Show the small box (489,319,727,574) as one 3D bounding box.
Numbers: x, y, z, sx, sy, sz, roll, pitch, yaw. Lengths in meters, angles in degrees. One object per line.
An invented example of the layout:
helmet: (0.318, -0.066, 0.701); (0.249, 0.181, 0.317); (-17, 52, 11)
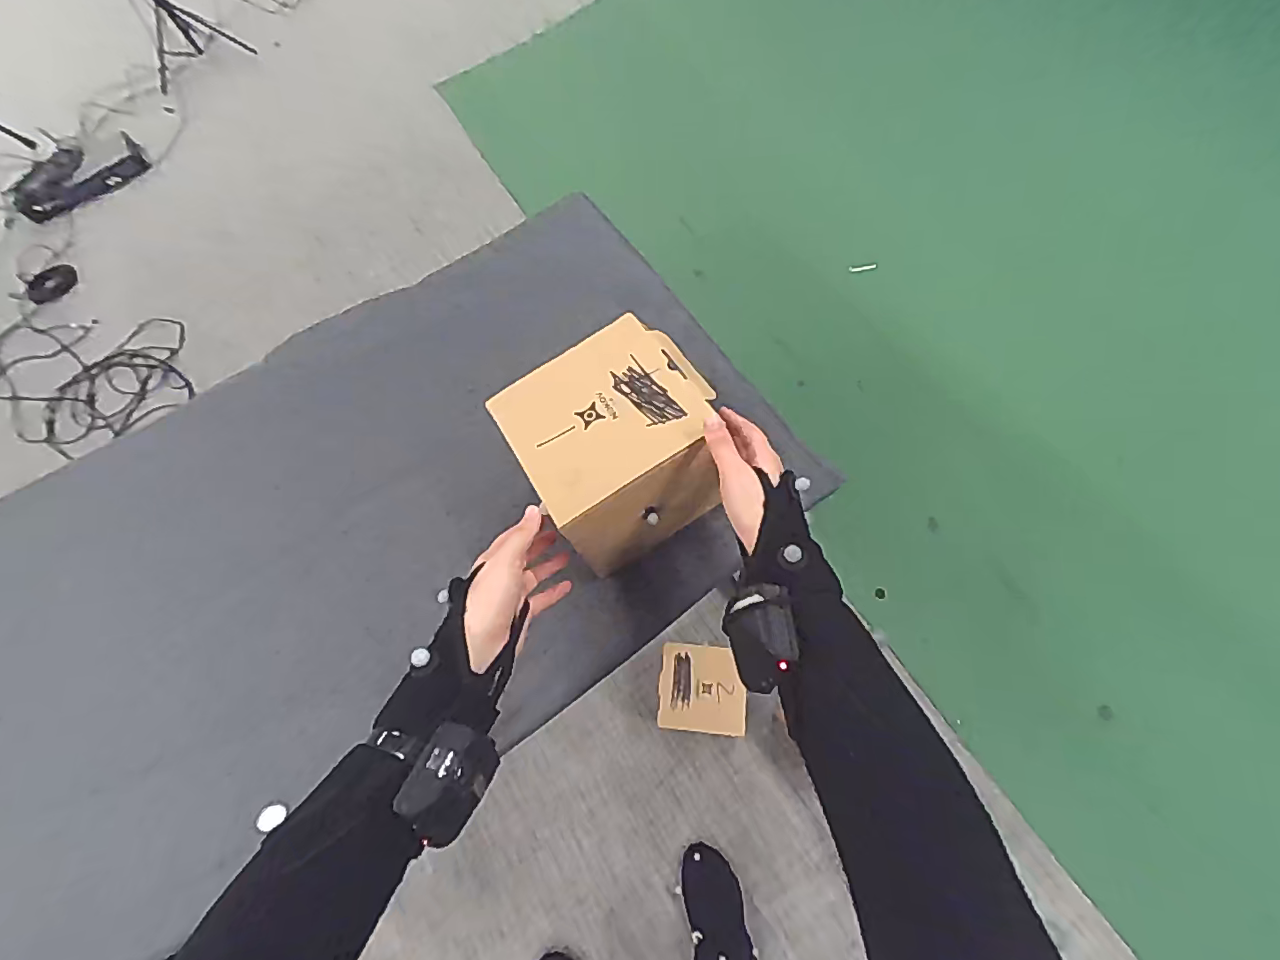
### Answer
small box: (-0.024, -0.026, 0.573); (0.179, 0.176, 0.168); (-32, 64, -4)
